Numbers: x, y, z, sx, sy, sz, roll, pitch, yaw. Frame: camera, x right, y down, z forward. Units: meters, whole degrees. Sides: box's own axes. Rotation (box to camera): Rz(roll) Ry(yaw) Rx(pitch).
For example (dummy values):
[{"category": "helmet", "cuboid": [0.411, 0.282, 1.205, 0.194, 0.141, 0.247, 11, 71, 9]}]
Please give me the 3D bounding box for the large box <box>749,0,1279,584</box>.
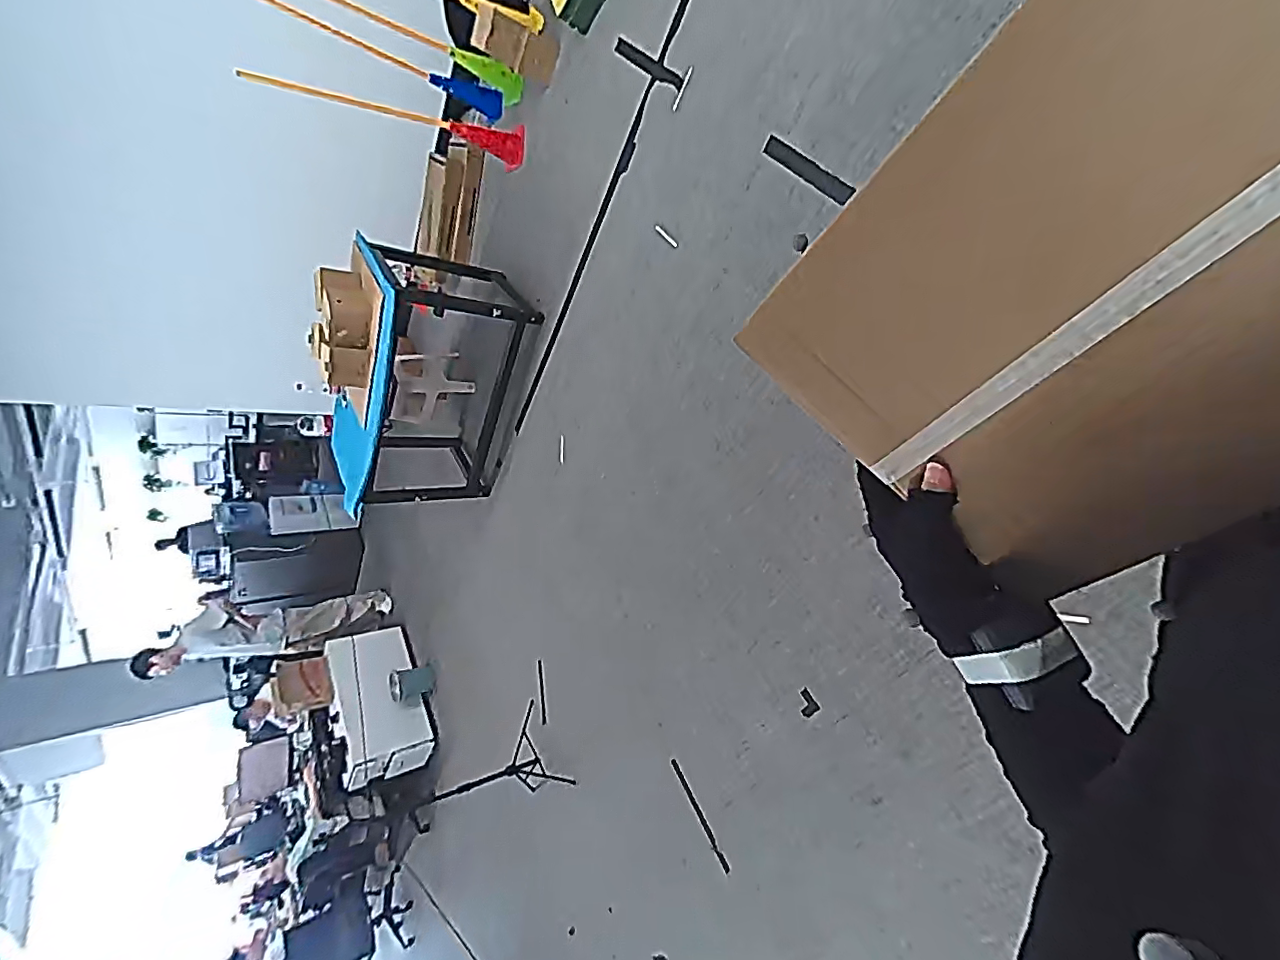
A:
[{"category": "large box", "cuboid": [0.360, -0.197, 0.423, 0.320, 0.320, 0.408, 42, 130, -1]}]
